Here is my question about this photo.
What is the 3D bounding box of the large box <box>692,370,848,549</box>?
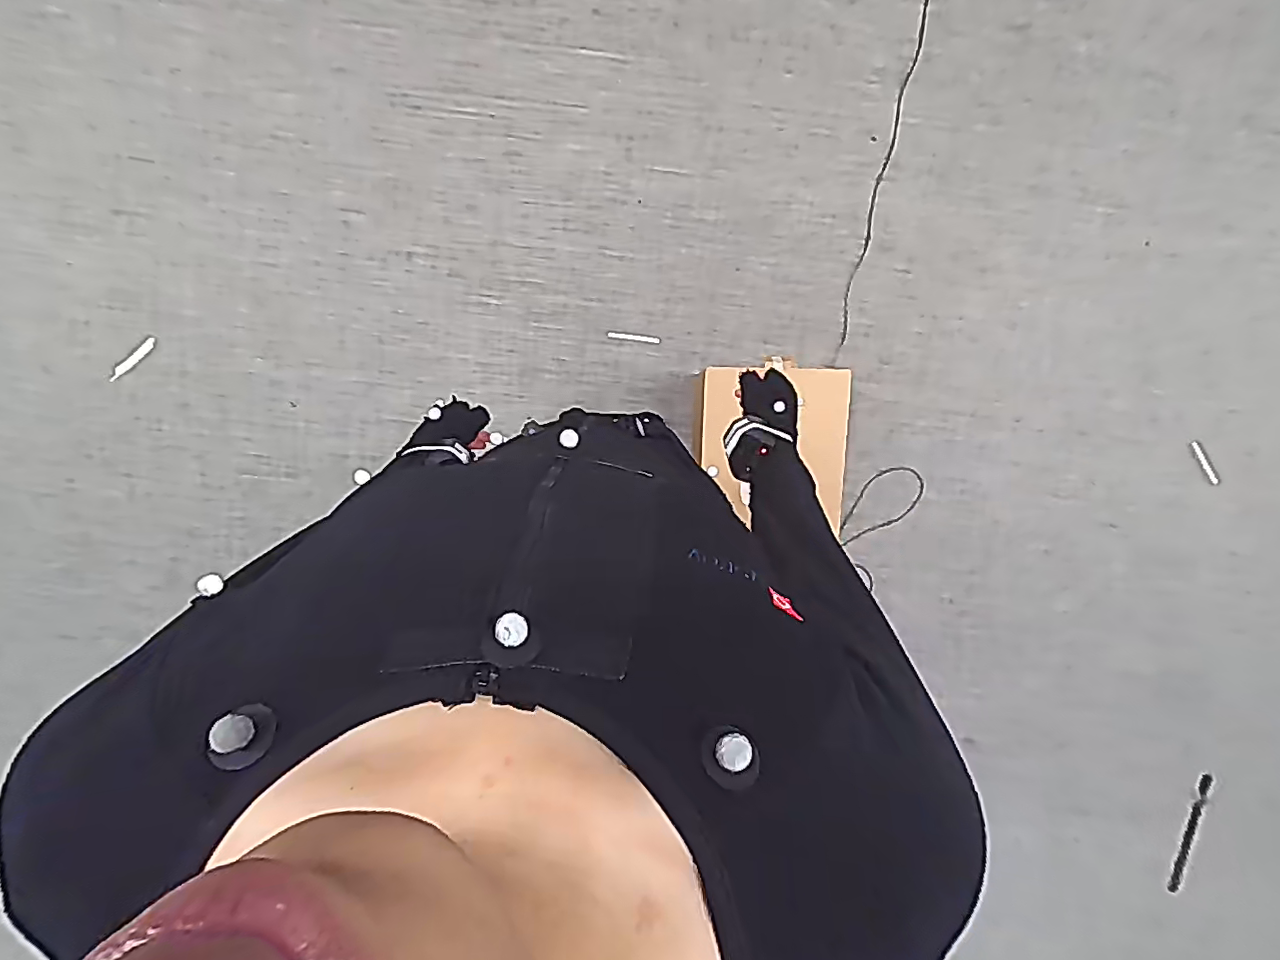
[{"bbox_3d":[0.298,-0.065,1.346,0.320,0.320,0.408,1,99,1],"label":"large box"}]
